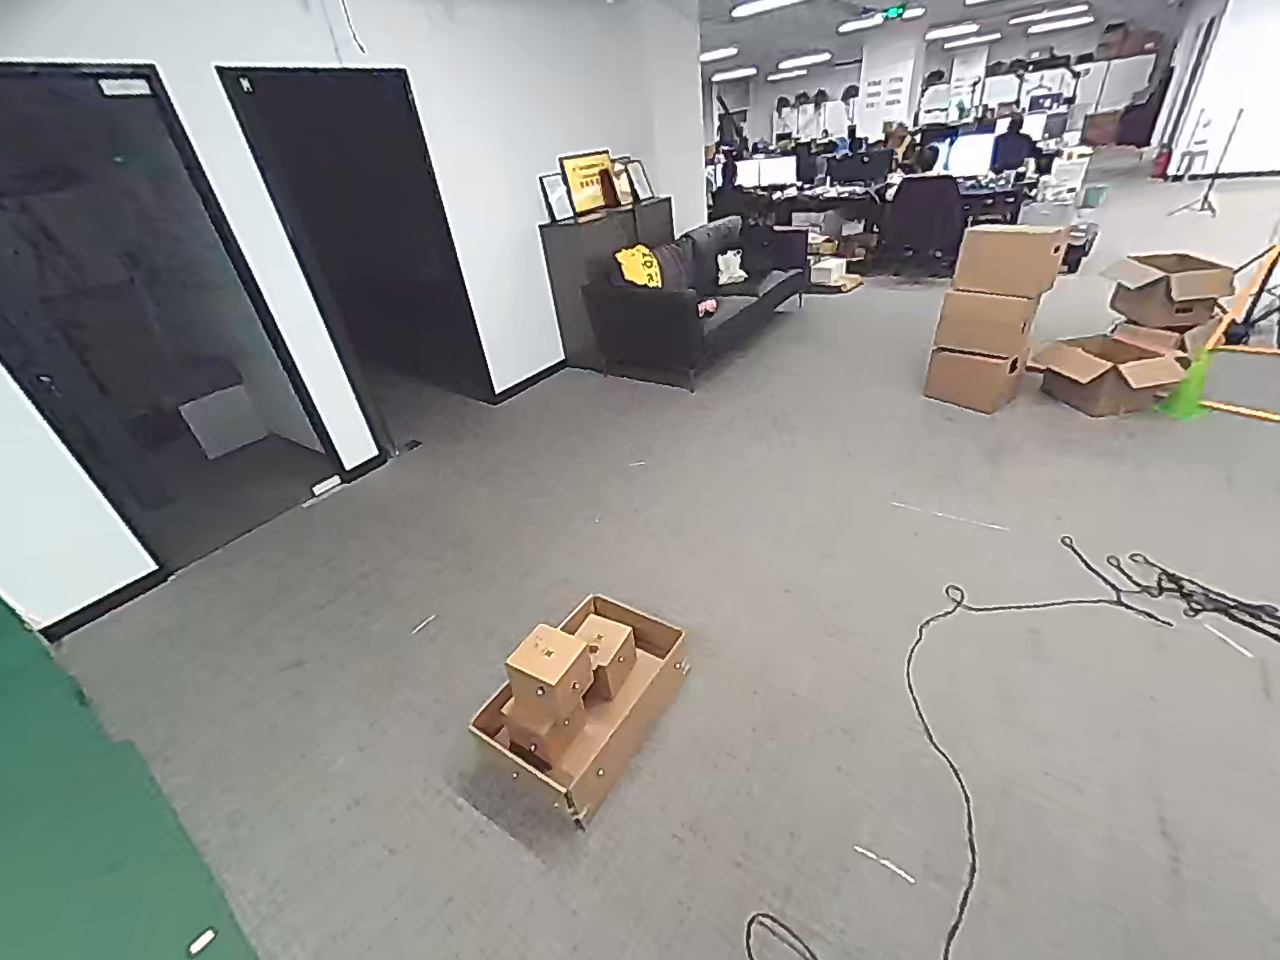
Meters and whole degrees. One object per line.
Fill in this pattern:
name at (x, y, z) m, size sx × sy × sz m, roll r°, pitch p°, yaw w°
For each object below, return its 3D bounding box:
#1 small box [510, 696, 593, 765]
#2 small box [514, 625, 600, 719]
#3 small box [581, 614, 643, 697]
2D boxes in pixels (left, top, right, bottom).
small box at (-0.257, 0.715, 1.627) m, size 0.168 × 0.176 × 0.179 m, roll 14°, pitch 36°, yaw 29°
small box at (-0.233, 0.558, 1.565) m, size 0.179 × 0.176 × 0.168 m, roll 12°, pitch 35°, yaw 27°
small box at (-0.102, 0.584, 1.797) m, size 0.168 × 0.176 × 0.179 m, roll 11°, pitch 37°, yaw 27°
